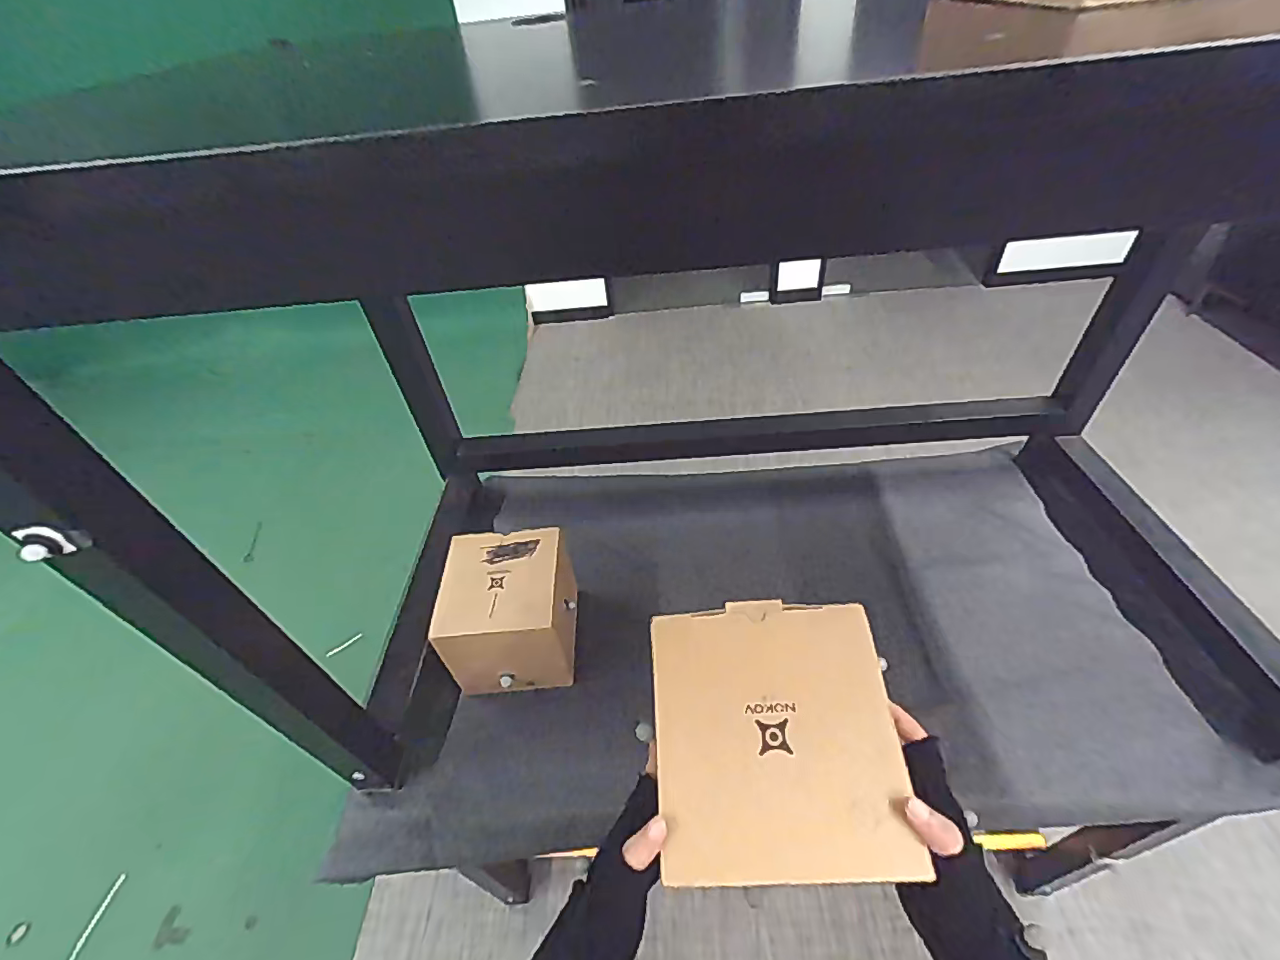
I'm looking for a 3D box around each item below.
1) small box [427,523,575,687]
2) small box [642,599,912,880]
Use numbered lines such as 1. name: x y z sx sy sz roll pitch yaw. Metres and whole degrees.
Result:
1. small box: -0.194 0.188 0.816 0.168 0.176 0.179 -5 44 2
2. small box: 0.093 0.215 0.443 0.168 0.176 0.179 -5 54 5
